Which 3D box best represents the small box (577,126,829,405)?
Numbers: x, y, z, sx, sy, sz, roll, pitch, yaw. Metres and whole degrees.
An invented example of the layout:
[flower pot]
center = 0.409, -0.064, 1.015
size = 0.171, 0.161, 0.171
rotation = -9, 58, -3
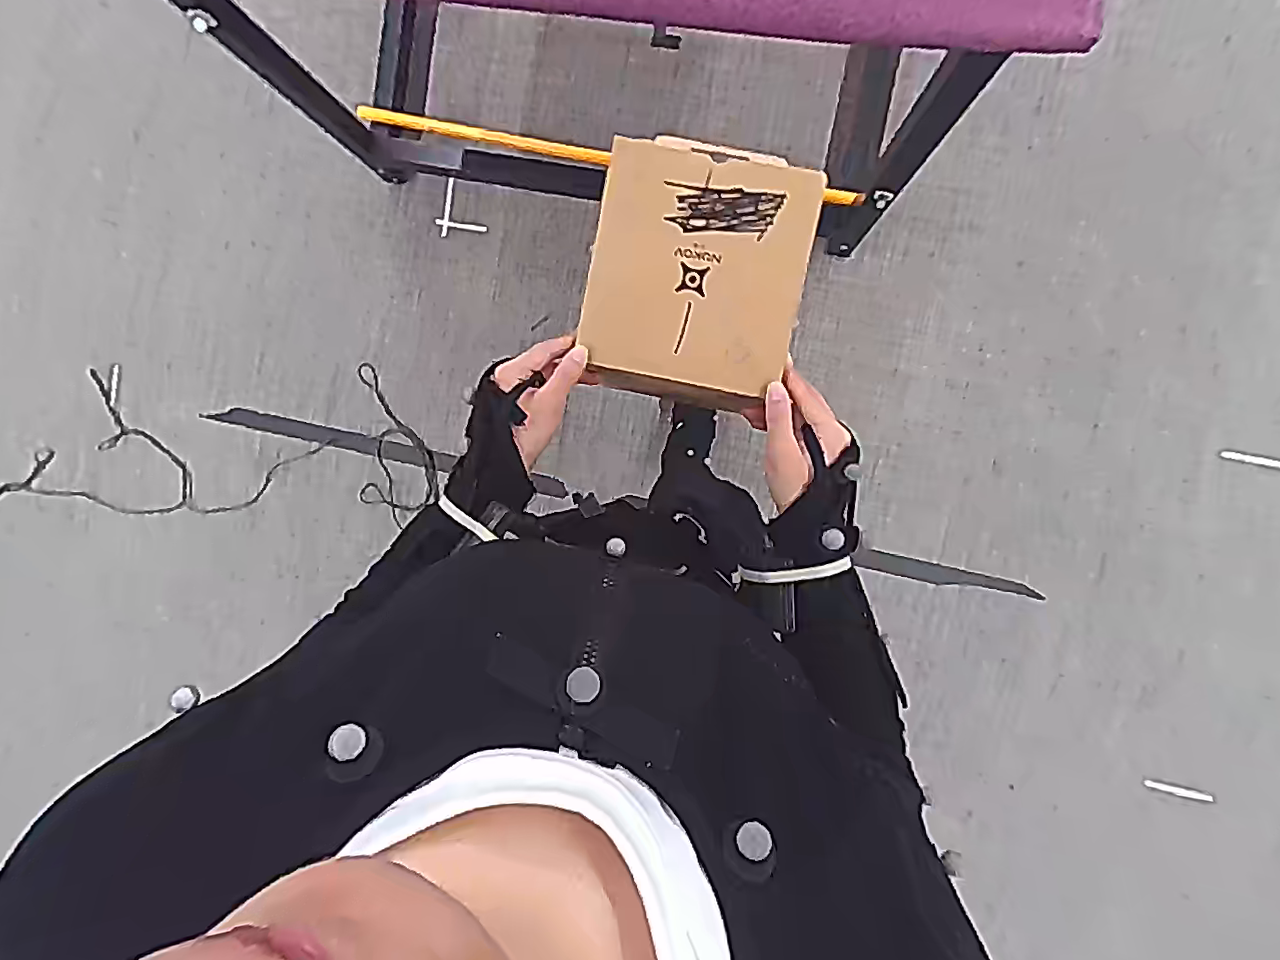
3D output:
[small box]
center = 0.051, -0.175, 0.495
size = 0.168, 0.176, 0.179
rotation = 12, 94, 3
